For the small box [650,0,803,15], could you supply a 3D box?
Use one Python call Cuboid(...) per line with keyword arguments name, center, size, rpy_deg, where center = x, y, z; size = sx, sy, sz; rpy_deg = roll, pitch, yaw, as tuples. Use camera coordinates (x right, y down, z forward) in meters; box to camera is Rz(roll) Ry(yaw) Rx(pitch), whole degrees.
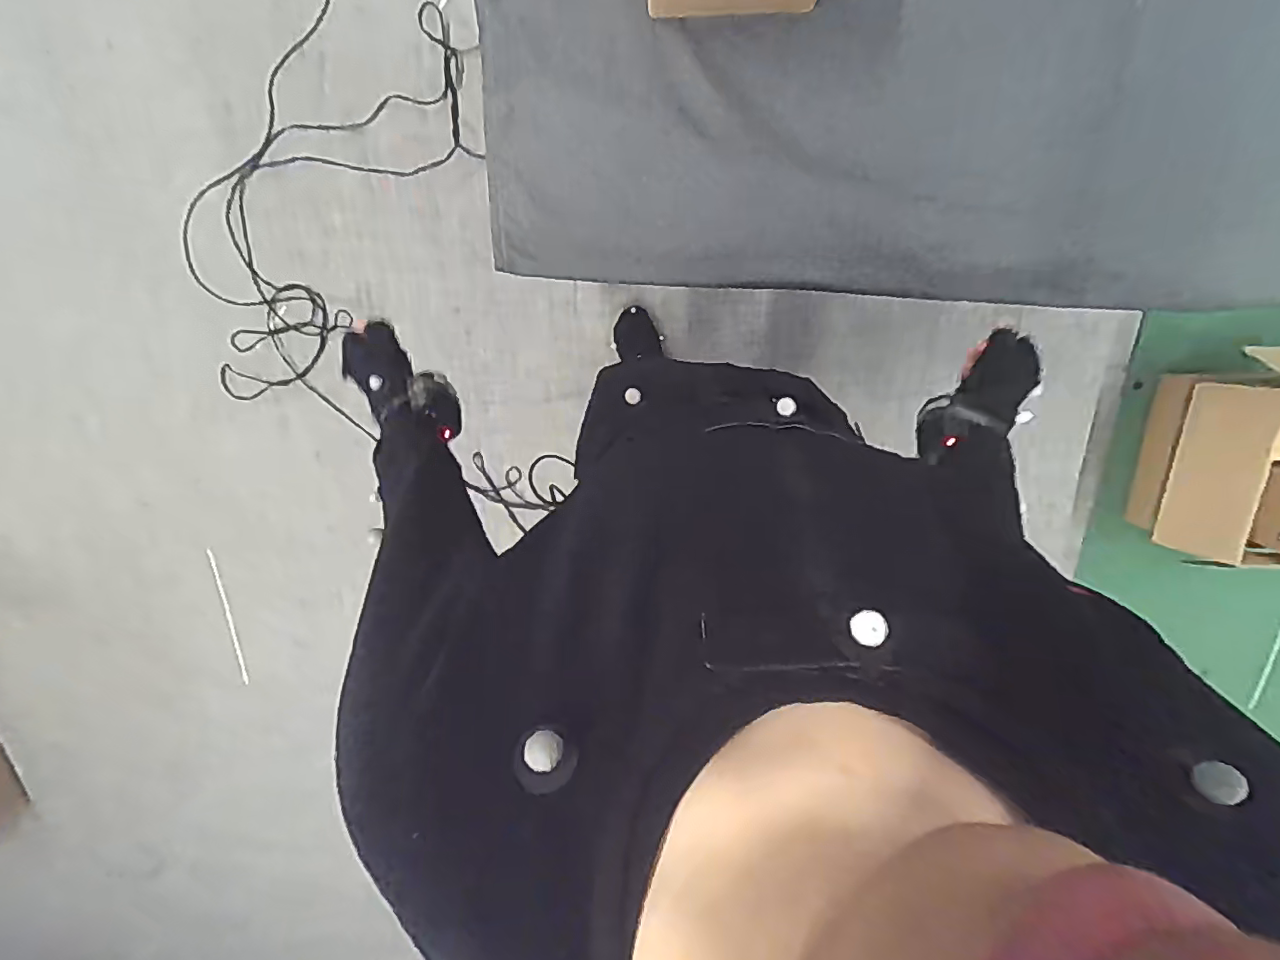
Cuboid(name="small box", center=(0.091, -0.554, 0.481), size=(0.179, 0.176, 0.168), rpy_deg=(-2, 107, 1))
